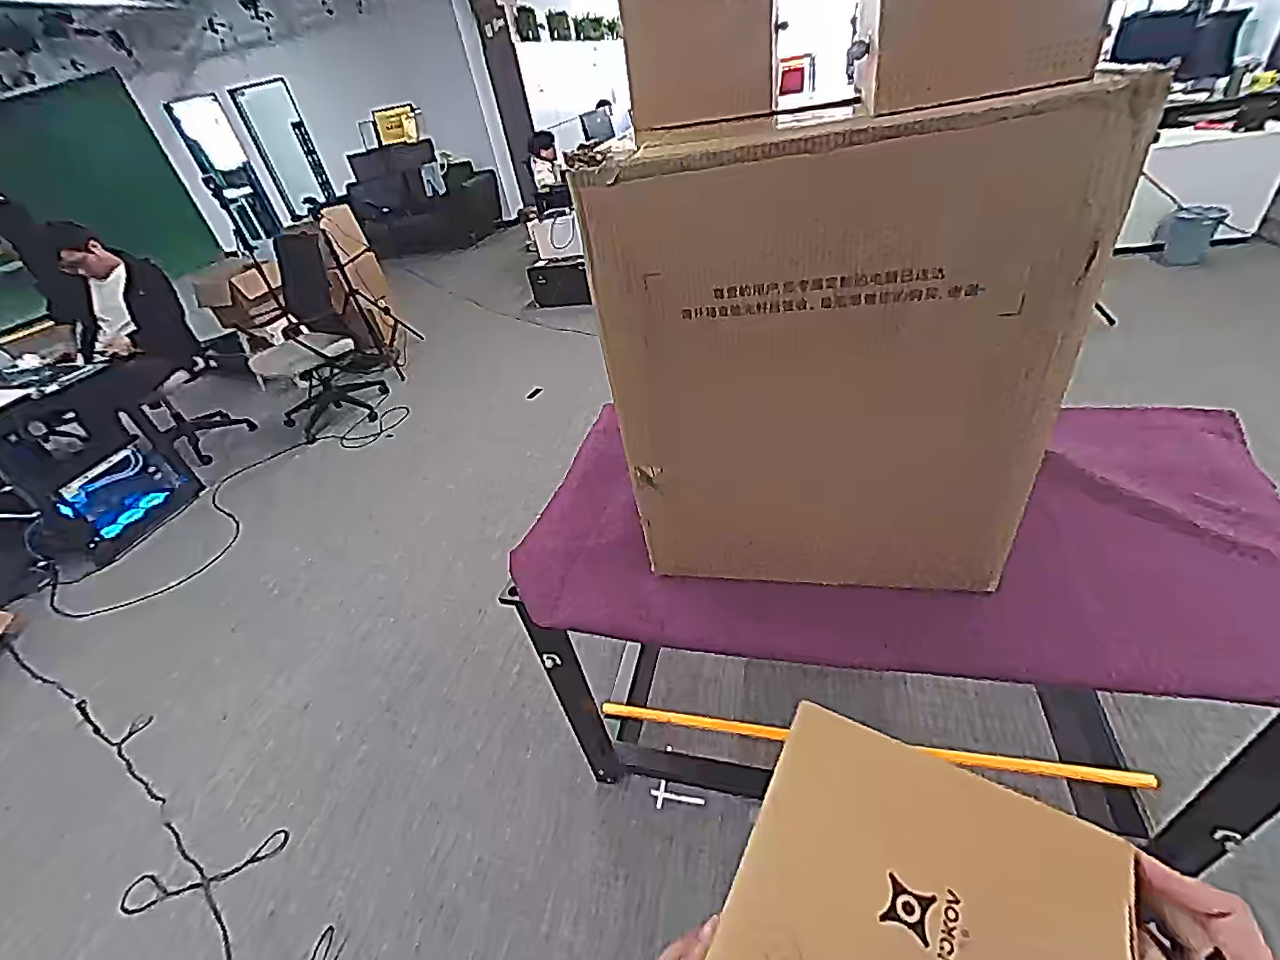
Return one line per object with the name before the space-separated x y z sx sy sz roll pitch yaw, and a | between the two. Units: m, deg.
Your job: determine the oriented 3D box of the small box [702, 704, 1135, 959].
small box | 0.154 0.279 0.327 0.179 0.176 0.168 16 49 28
